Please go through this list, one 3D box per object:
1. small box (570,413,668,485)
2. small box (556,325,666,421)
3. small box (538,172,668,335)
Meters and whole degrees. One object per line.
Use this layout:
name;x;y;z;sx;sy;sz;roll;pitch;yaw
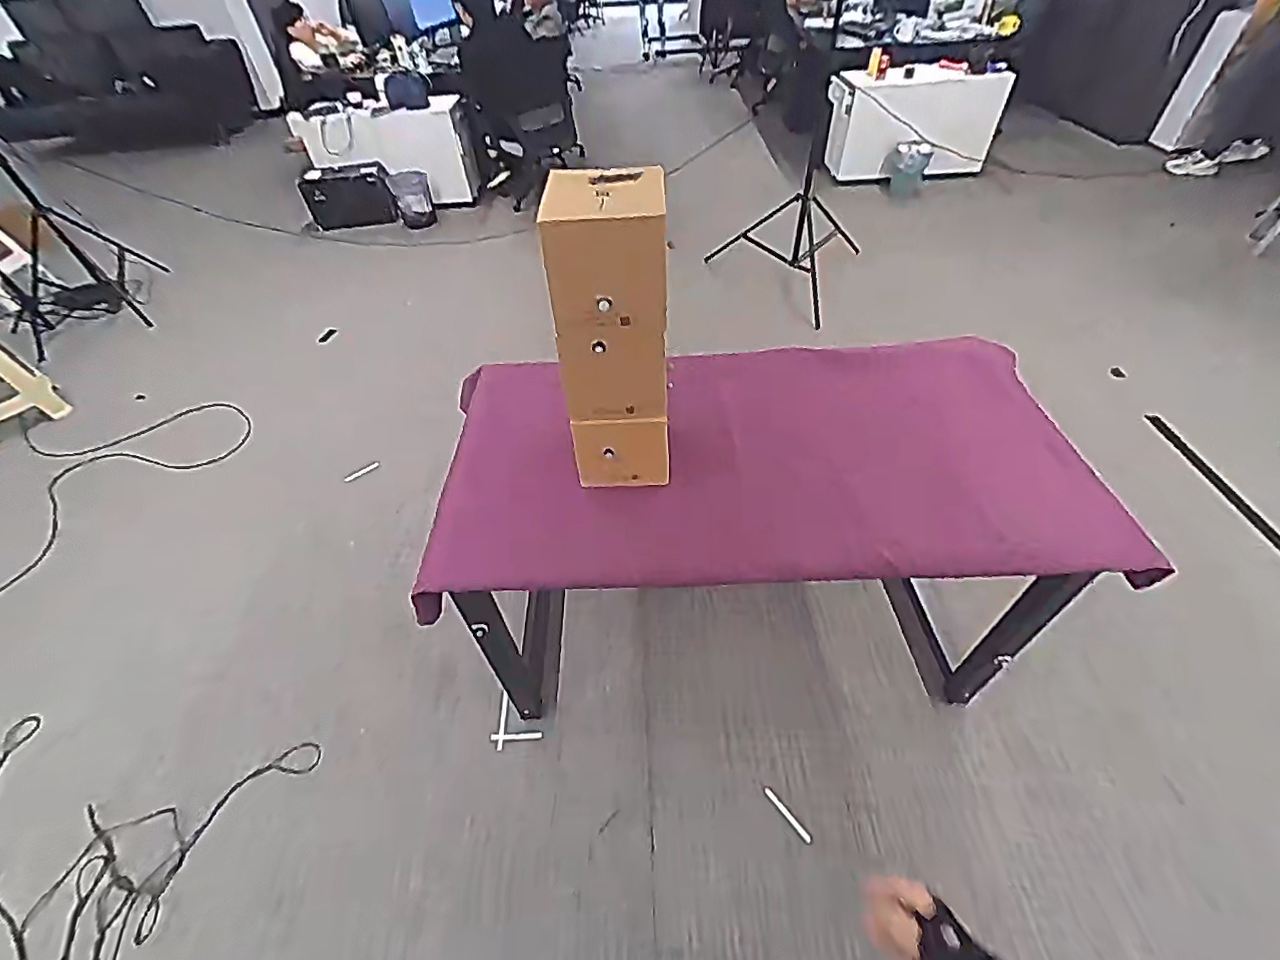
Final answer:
small box;-0.033;-0.102;1.027;0.168;0.176;0.179;-2;47;2
small box;-0.041;-0.218;0.912;0.168;0.176;0.179;-3;46;2
small box;-0.044;-0.330;0.790;0.168;0.176;0.179;-2;47;2
